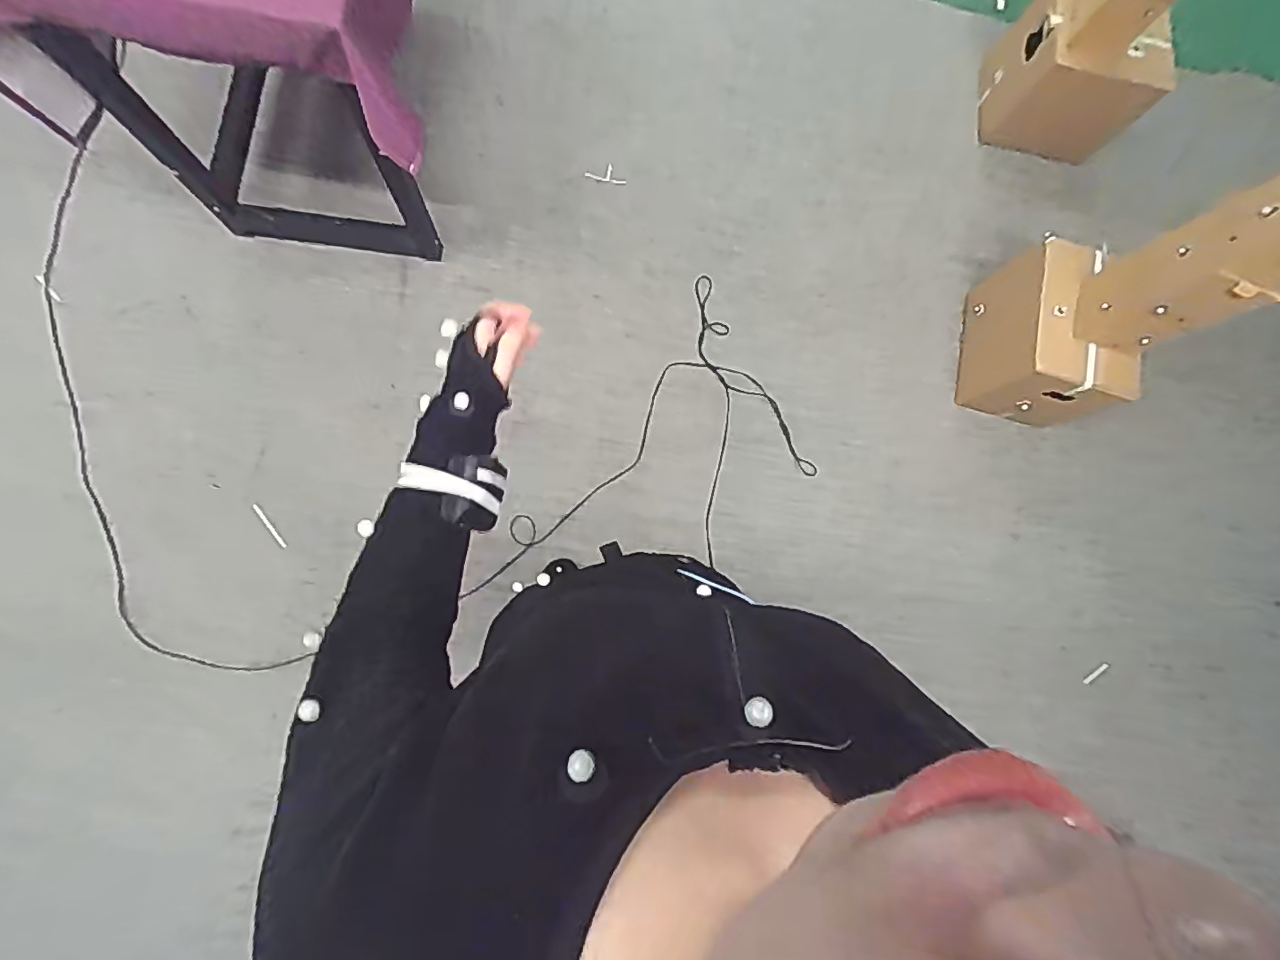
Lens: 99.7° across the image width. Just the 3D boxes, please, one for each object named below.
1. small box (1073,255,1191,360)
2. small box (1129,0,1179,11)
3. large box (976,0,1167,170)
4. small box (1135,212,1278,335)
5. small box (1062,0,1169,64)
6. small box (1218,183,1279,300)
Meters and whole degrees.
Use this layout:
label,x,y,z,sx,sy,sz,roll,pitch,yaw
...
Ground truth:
label,x,y,z,sx,sy,sz,roll,pitch,yaw
small box,1.265,-0.435,1.392,0.168,0.176,0.179,18,78,-6
small box,1.381,-1.373,1.398,0.179,0.176,0.168,10,80,-7
large box,1.418,-1.312,1.810,0.408,0.320,0.320,8,80,-7
small box,1.286,-0.459,1.231,0.168,0.176,0.179,20,77,-6
small box,1.362,-1.354,1.561,0.179,0.176,0.168,10,79,-7
small box,1.316,-0.486,1.072,0.179,0.176,0.168,18,79,-6
